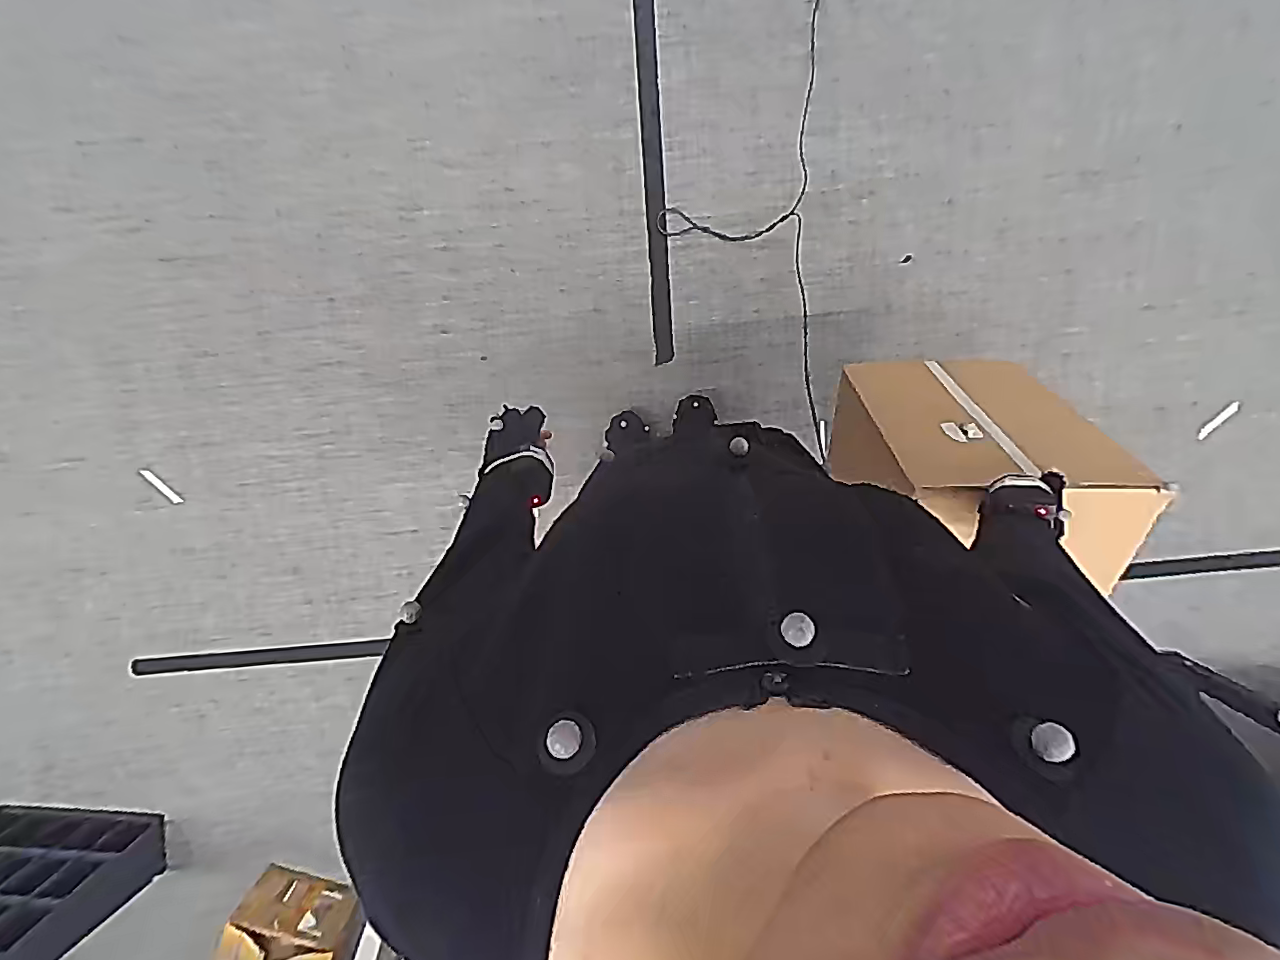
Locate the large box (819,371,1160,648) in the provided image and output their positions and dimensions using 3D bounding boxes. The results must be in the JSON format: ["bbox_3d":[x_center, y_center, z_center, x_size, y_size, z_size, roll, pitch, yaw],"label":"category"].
[{"bbox_3d":[0.533,0.034,0.949,0.320,0.408,0.320,-1,125,5],"label":"large box"}]
